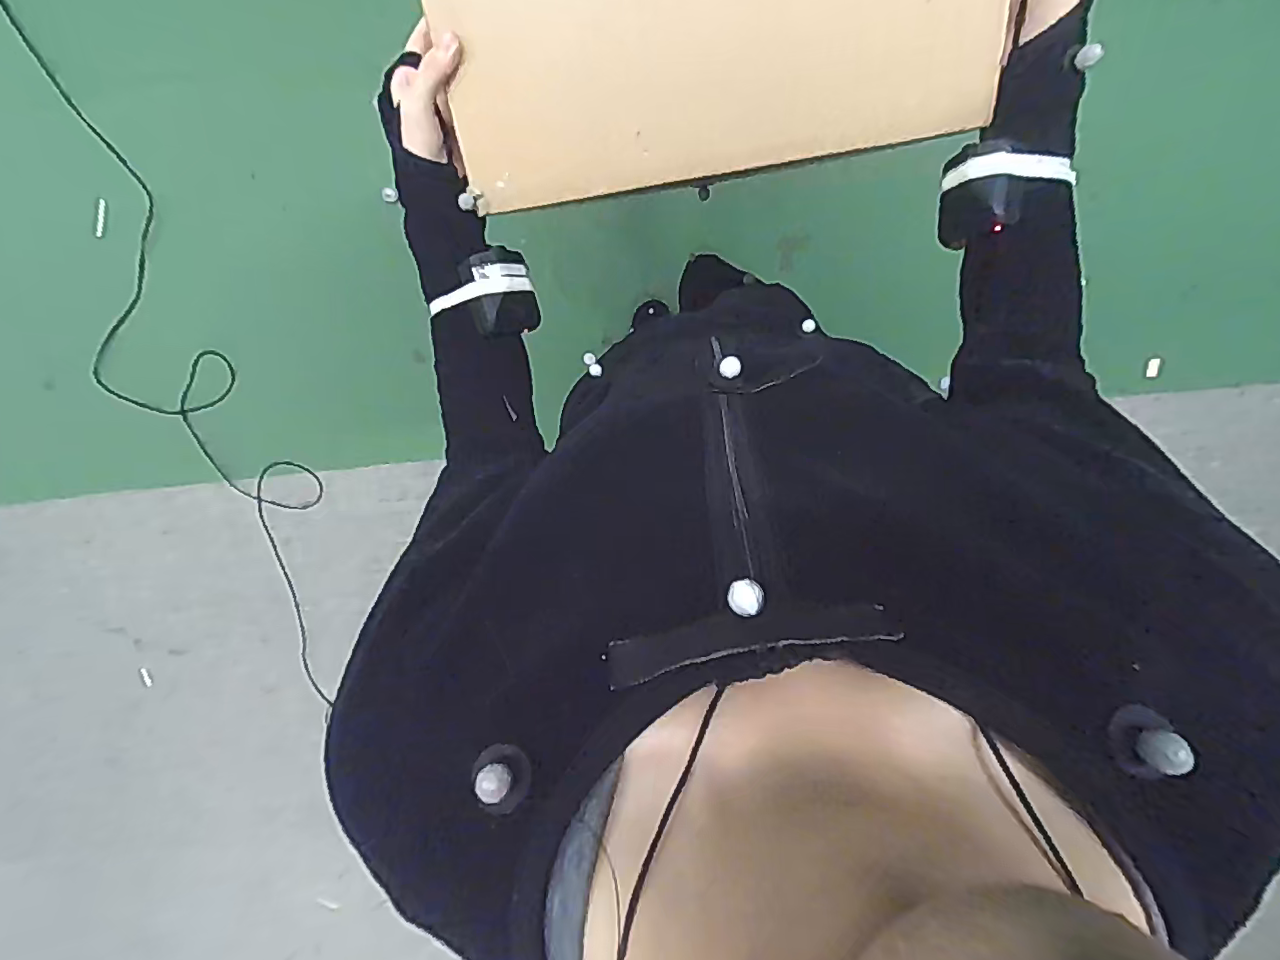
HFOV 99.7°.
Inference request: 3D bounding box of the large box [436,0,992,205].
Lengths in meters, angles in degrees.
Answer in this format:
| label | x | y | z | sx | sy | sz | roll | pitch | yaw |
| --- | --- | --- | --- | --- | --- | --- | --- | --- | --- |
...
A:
| label | x | y | z | sx | sy | sz | roll | pitch | yaw |
| --- | --- | --- | --- | --- | --- | --- | --- | --- | --- |
| large box | 0.046 | -0.462 | 0.496 | 0.408 | 0.320 | 0.320 | -8 | 117 | 4 |
